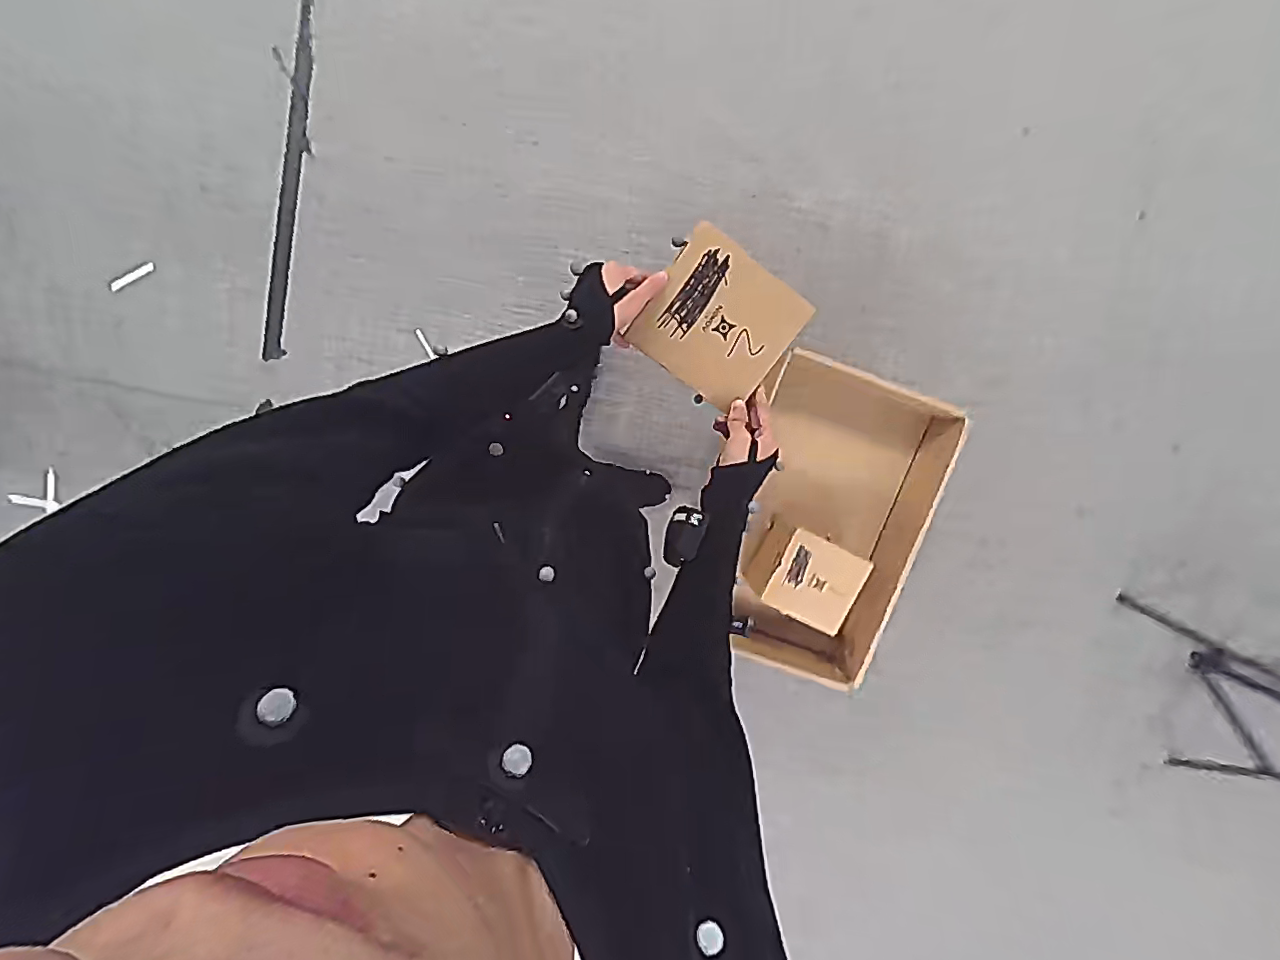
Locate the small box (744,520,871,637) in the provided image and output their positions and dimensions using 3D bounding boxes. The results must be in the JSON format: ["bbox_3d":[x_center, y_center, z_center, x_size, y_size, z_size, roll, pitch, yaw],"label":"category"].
[{"bbox_3d":[0.342,0.197,1.146,0.179,0.176,0.168,27,96,-4],"label":"small box"}]
